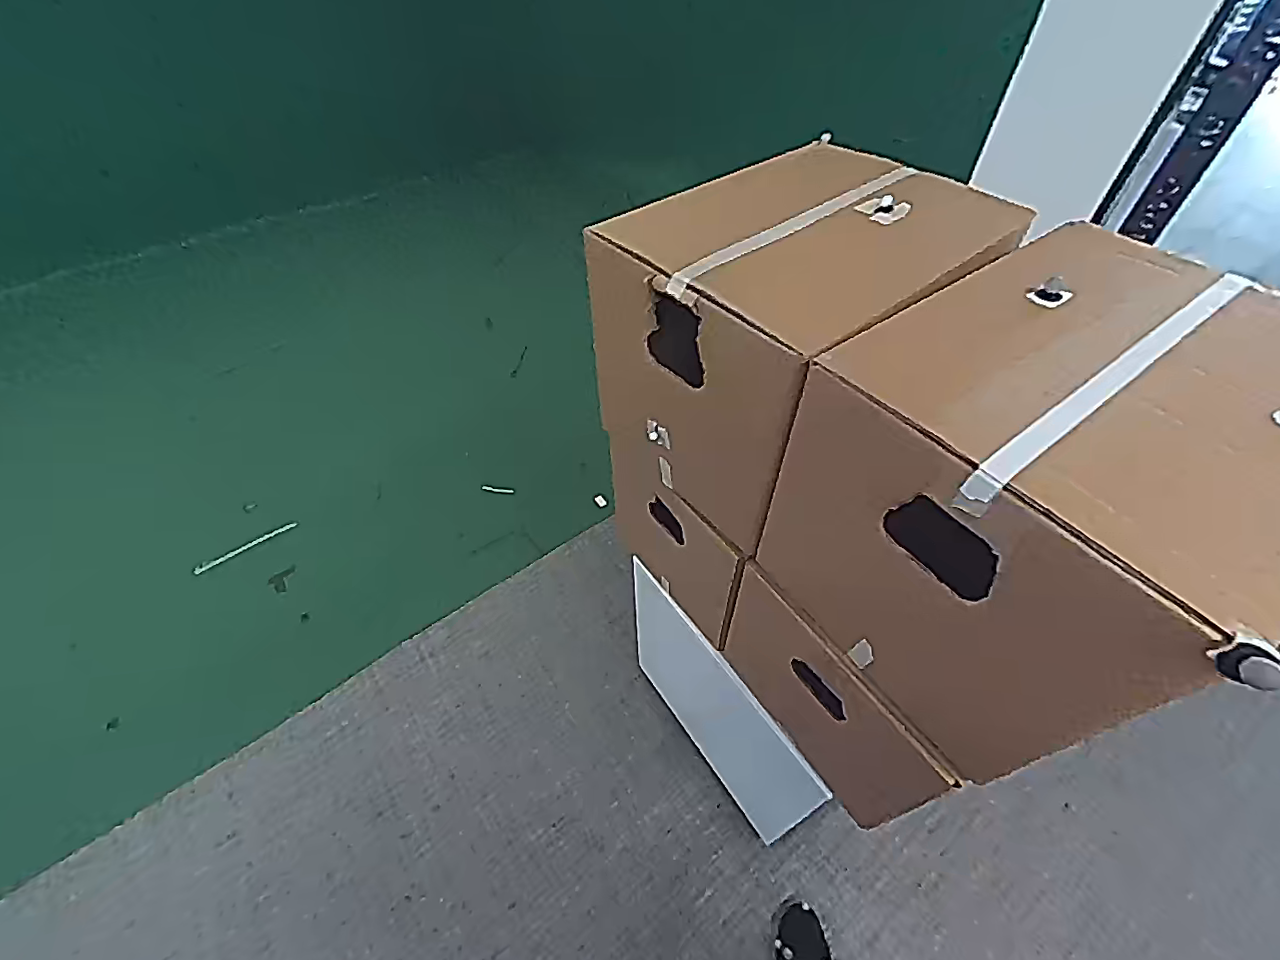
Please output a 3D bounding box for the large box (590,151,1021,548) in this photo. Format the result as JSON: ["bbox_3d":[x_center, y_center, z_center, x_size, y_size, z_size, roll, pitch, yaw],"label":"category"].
[{"bbox_3d":[0.190,-0.187,0.720,0.408,0.320,0.320,-32,56,-24],"label":"large box"}]
